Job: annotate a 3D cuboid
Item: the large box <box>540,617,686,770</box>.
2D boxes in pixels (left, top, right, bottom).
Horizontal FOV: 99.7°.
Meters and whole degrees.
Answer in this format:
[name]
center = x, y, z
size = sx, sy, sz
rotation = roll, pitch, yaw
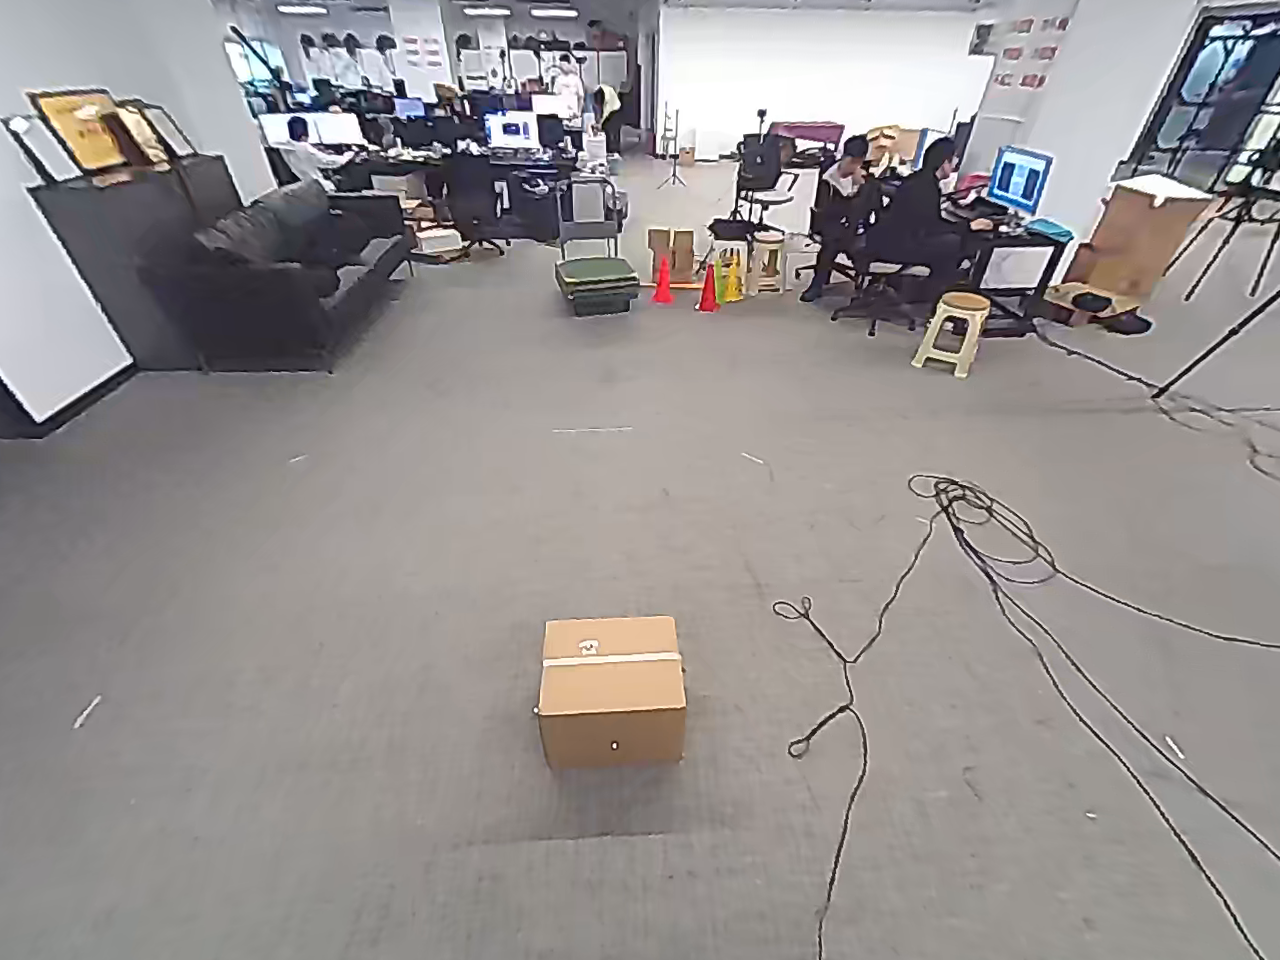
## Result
[large box]
center = -0.083, 0.659, 1.674
size = 0.408, 0.320, 0.320
rotation = -3, 37, -3
